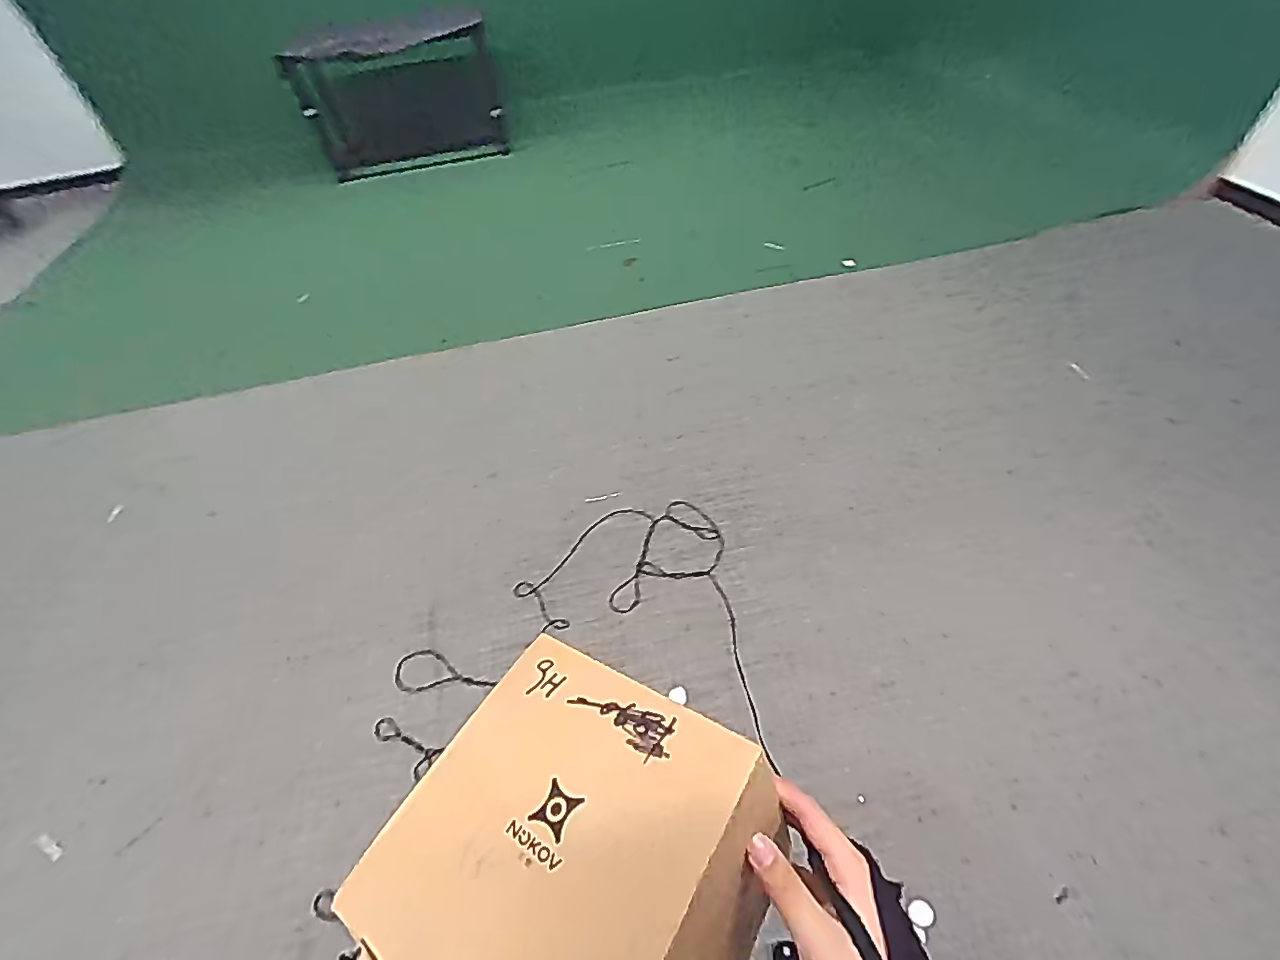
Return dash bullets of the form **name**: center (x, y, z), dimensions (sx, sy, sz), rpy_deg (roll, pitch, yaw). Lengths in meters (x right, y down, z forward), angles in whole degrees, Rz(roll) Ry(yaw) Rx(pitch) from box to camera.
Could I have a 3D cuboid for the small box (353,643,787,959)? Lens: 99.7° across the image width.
- **small box**: center (-0.021, 0.242, 0.333), dimensions (0.168, 0.176, 0.179), rpy_deg (15, 52, 35)
